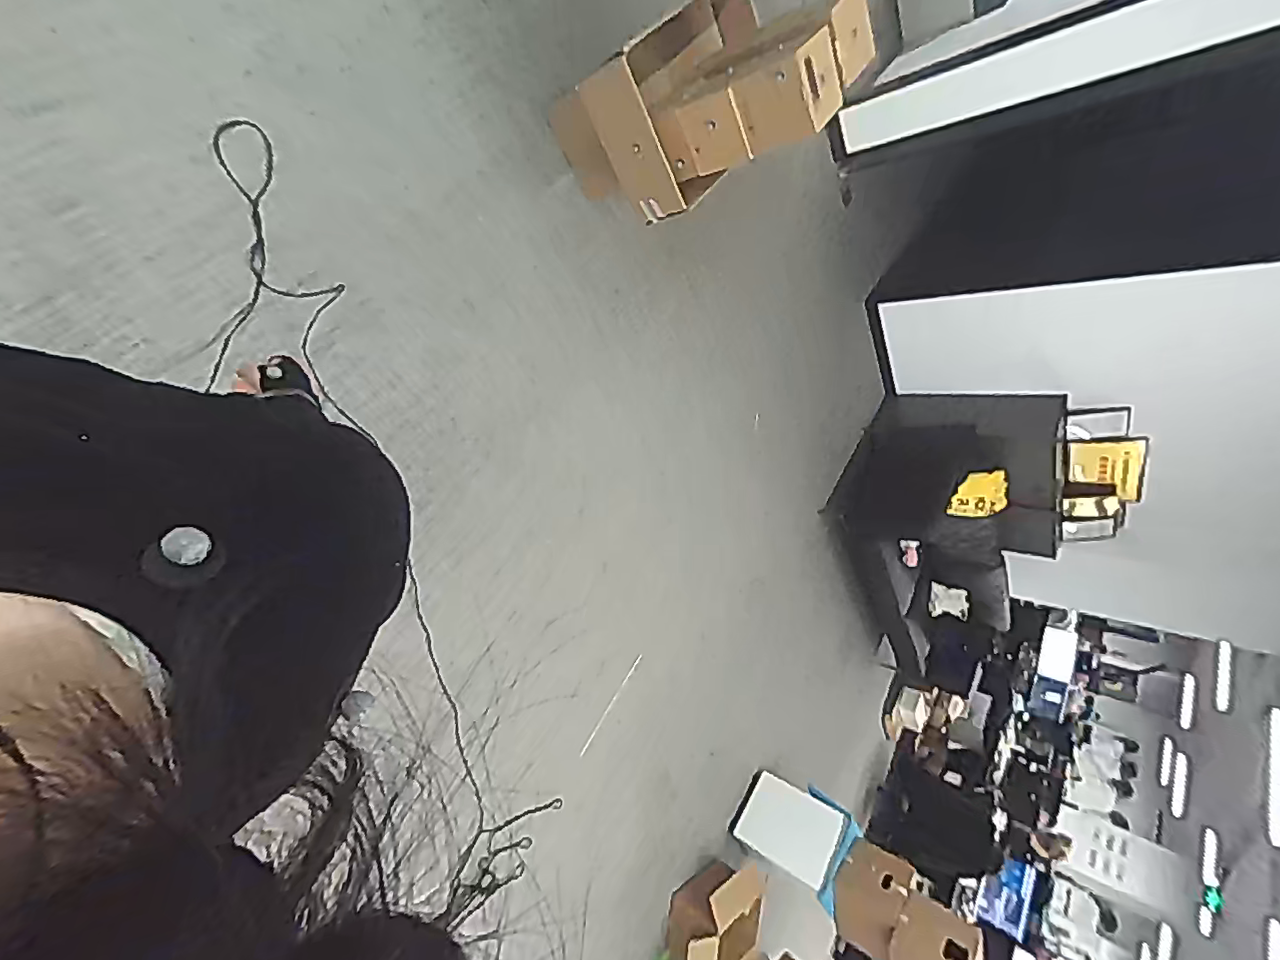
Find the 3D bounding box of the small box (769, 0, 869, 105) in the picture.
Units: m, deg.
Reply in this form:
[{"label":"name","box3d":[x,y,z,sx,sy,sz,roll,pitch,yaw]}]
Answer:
[{"label":"small box","box3d":[0.440,-1.079,1.348,0.179,0.176,0.168,-53,132,-22]}]

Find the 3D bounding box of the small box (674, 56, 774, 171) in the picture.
[{"label":"small box","box3d":[0.208,-0.921,1.374,0.179,0.176,0.168,-55,132,-24]}]

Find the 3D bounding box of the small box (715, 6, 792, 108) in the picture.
[{"label":"small box","box3d":[0.323,-1.111,1.458,0.179,0.176,0.168,-56,132,-20]}]
